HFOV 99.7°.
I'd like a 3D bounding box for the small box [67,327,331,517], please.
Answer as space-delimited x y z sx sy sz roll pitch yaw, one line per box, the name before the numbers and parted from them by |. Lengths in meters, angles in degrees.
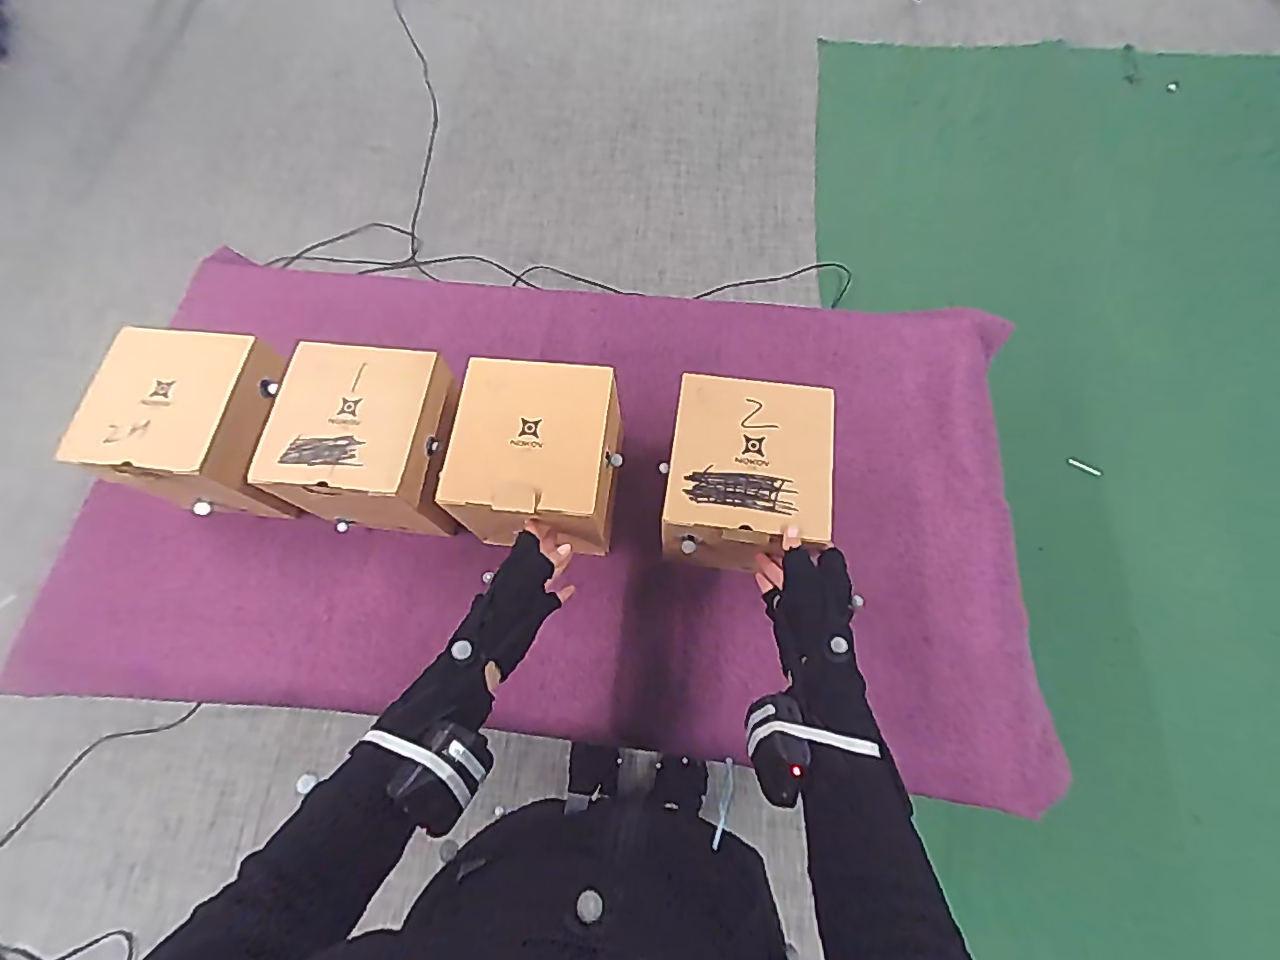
small box | -0.528 -0.066 0.683 0.168 0.176 0.179 5 70 4
